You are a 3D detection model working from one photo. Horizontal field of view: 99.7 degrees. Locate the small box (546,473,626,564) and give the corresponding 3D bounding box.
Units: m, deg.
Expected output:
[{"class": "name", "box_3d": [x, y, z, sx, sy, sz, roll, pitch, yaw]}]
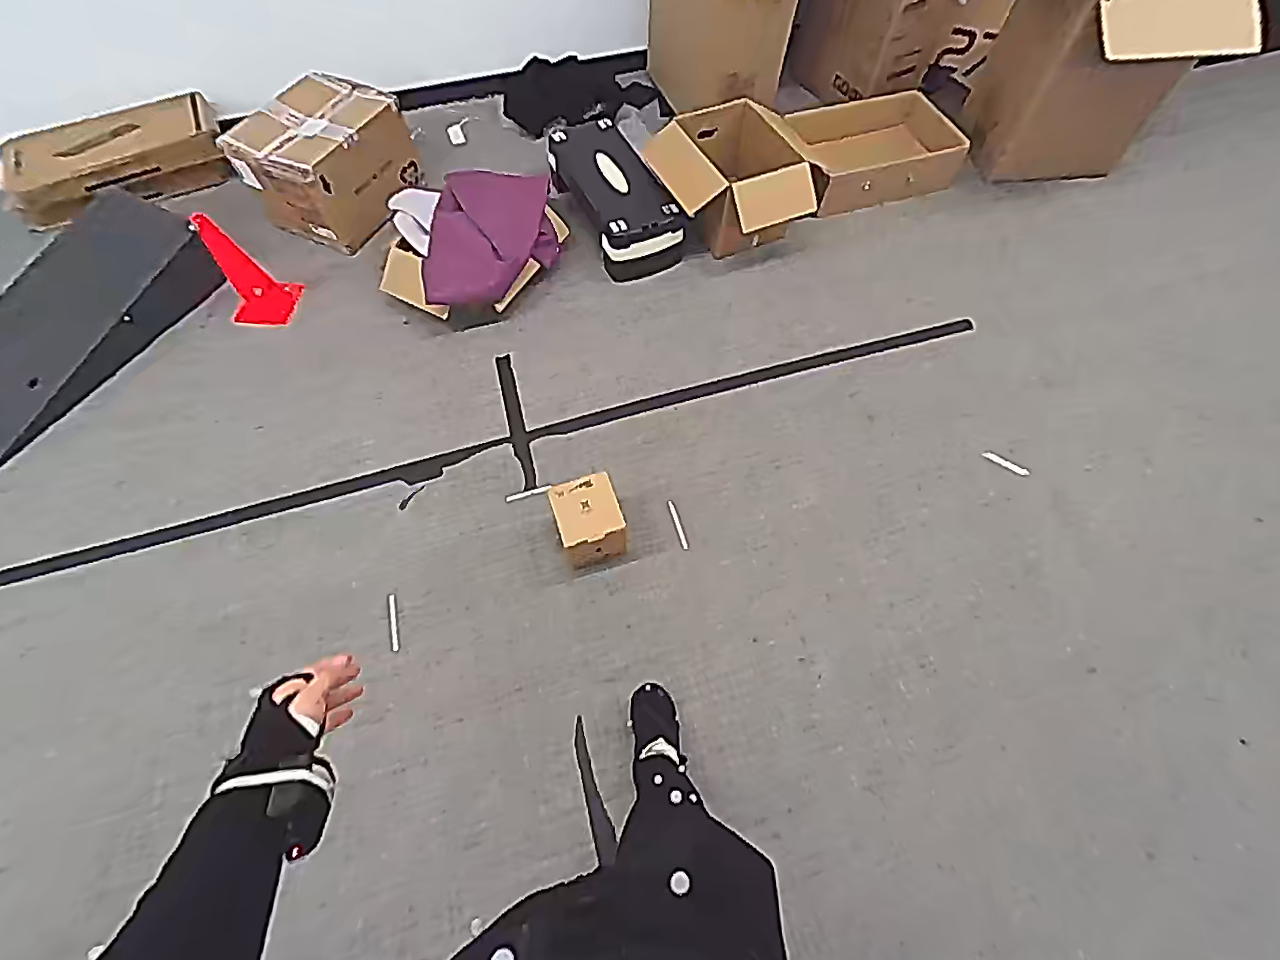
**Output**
[{"class": "small box", "box_3d": [-0.140, 0.111, 1.451, 0.168, 0.176, 0.179, -17, 65, -9]}]
